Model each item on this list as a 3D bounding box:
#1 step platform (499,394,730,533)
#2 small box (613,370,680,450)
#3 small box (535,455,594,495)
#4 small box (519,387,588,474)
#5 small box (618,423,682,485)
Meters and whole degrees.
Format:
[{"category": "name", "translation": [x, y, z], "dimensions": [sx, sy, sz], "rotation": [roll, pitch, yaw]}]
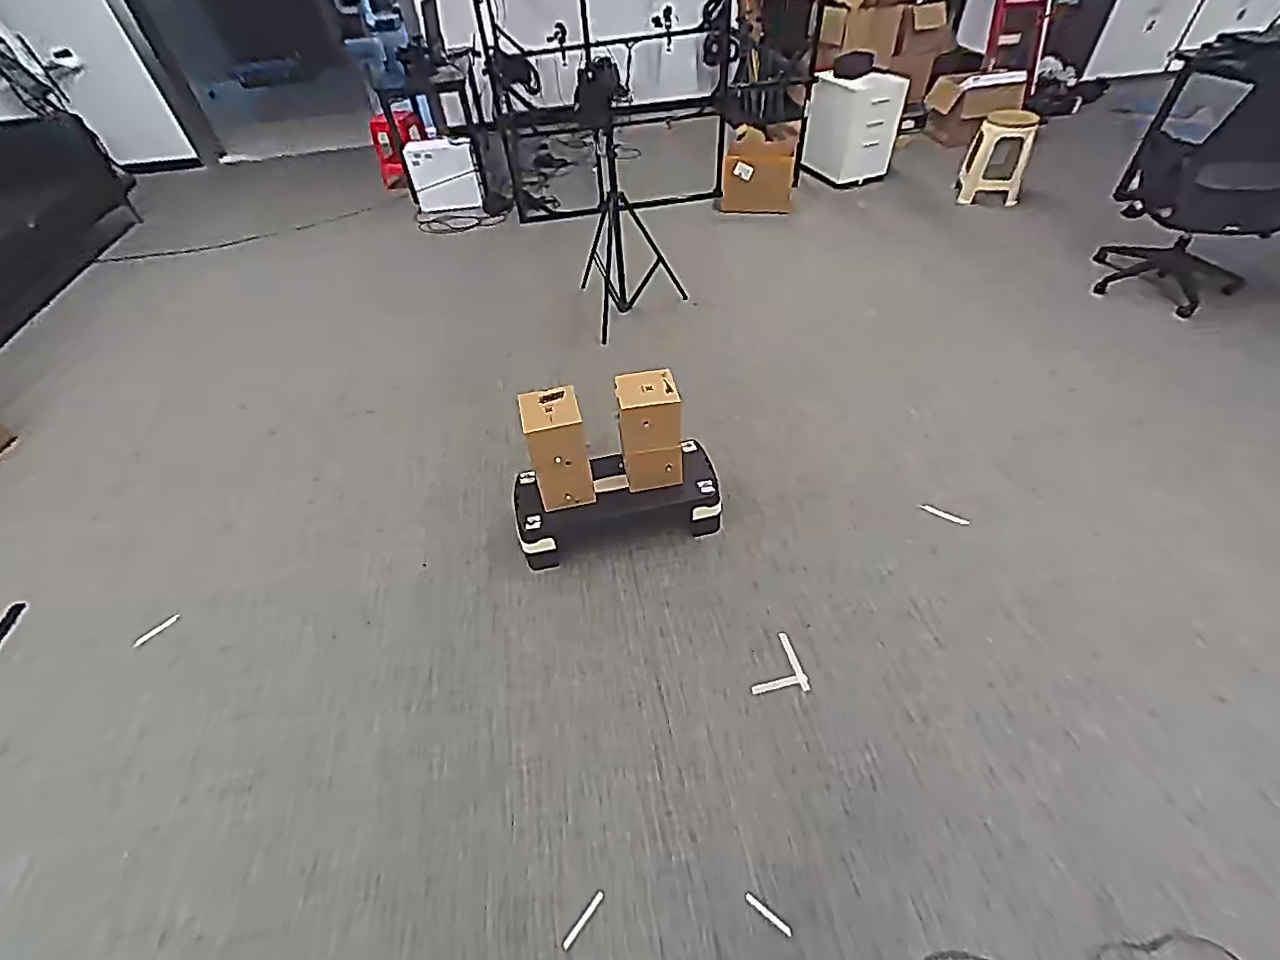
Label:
[{"category": "step platform", "translation": [-0.074, -0.052, 1.675], "dimensions": [0.684, 0.204, 0.286], "rotation": [-11, 47, -7]}, {"category": "small box", "translation": [0.020, -0.209, 1.640], "dimensions": [0.179, 0.176, 0.168], "rotation": [-9, 47, -3]}, {"category": "small box", "translation": [-0.242, -0.030, 1.715], "dimensions": [0.168, 0.176, 0.179], "rotation": [-12, 47, -6]}, {"category": "small box", "translation": [-0.255, -0.146, 1.599], "dimensions": [0.168, 0.176, 0.179], "rotation": [-12, 48, -7]}, {"category": "small box", "translation": [0.031, -0.083, 1.745], "dimensions": [0.179, 0.176, 0.168], "rotation": [-11, 46, -6]}]
